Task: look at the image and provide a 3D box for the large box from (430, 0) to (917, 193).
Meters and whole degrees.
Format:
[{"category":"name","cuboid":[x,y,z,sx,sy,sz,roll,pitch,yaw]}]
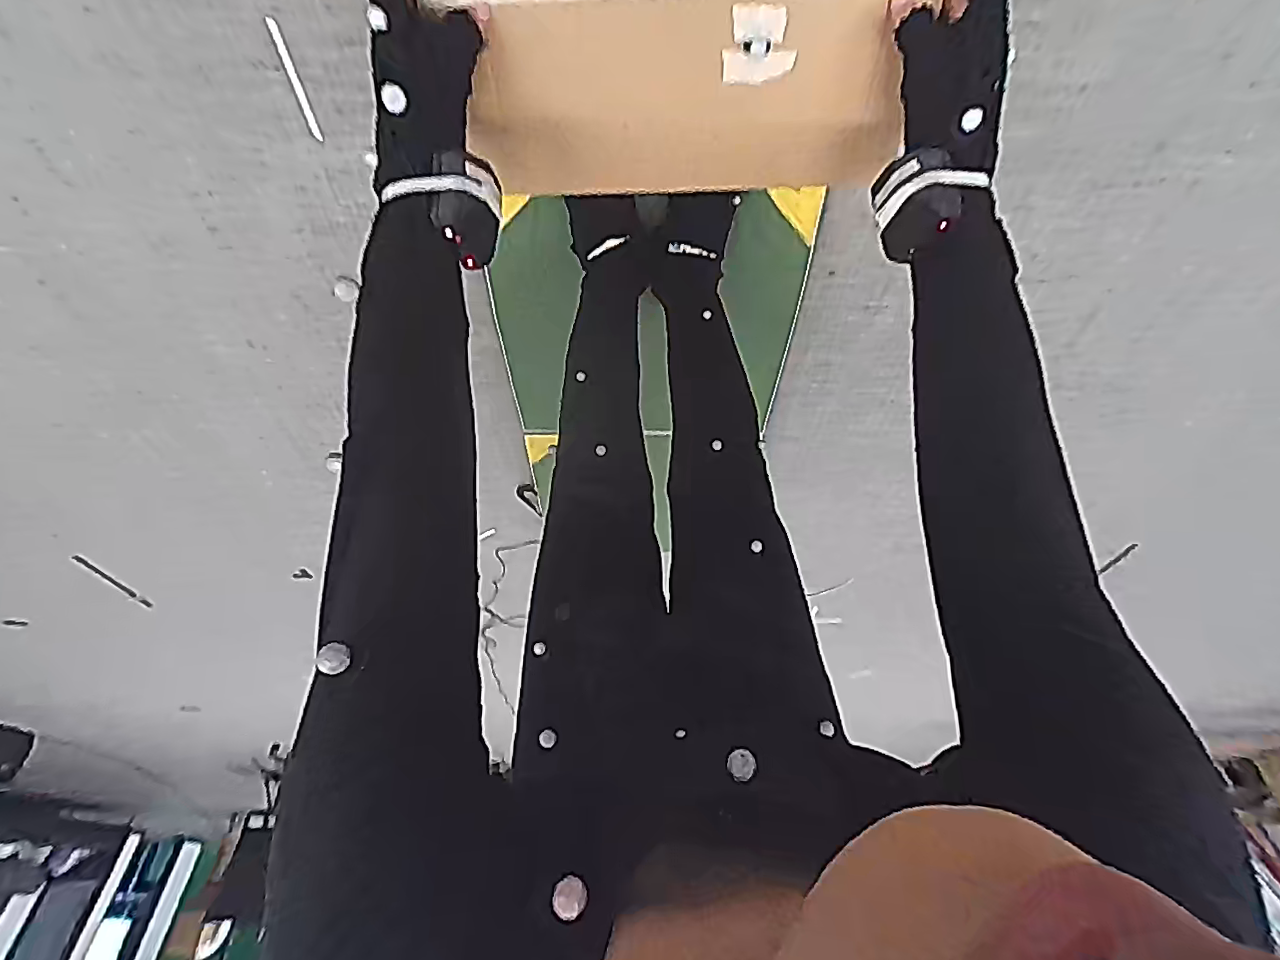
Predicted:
[{"category":"large box","cuboid":[0.025,-0.508,0.524,0.408,0.320,0.320,-1,139,2]}]
